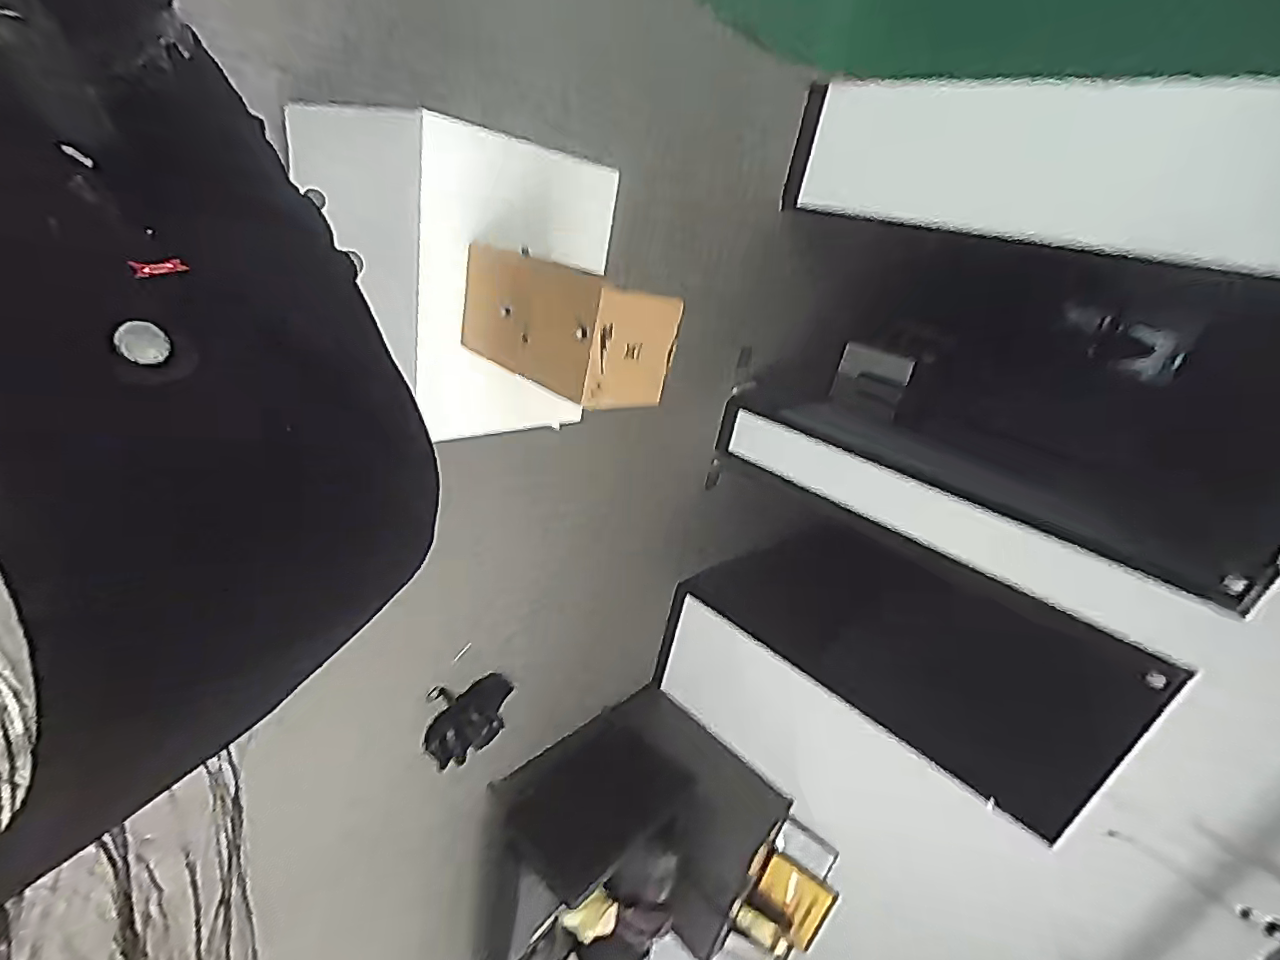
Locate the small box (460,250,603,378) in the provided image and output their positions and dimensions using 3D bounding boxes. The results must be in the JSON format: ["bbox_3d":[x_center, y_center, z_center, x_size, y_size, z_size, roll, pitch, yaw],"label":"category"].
[{"bbox_3d":[-0.190,-0.284,0.929,0.168,0.176,0.179,-13,125,-46],"label":"small box"}]

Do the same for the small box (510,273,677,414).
[{"bbox_3d":[-0.075,-0.215,0.840,0.179,0.176,0.168,-14,126,-45],"label":"small box"}]
